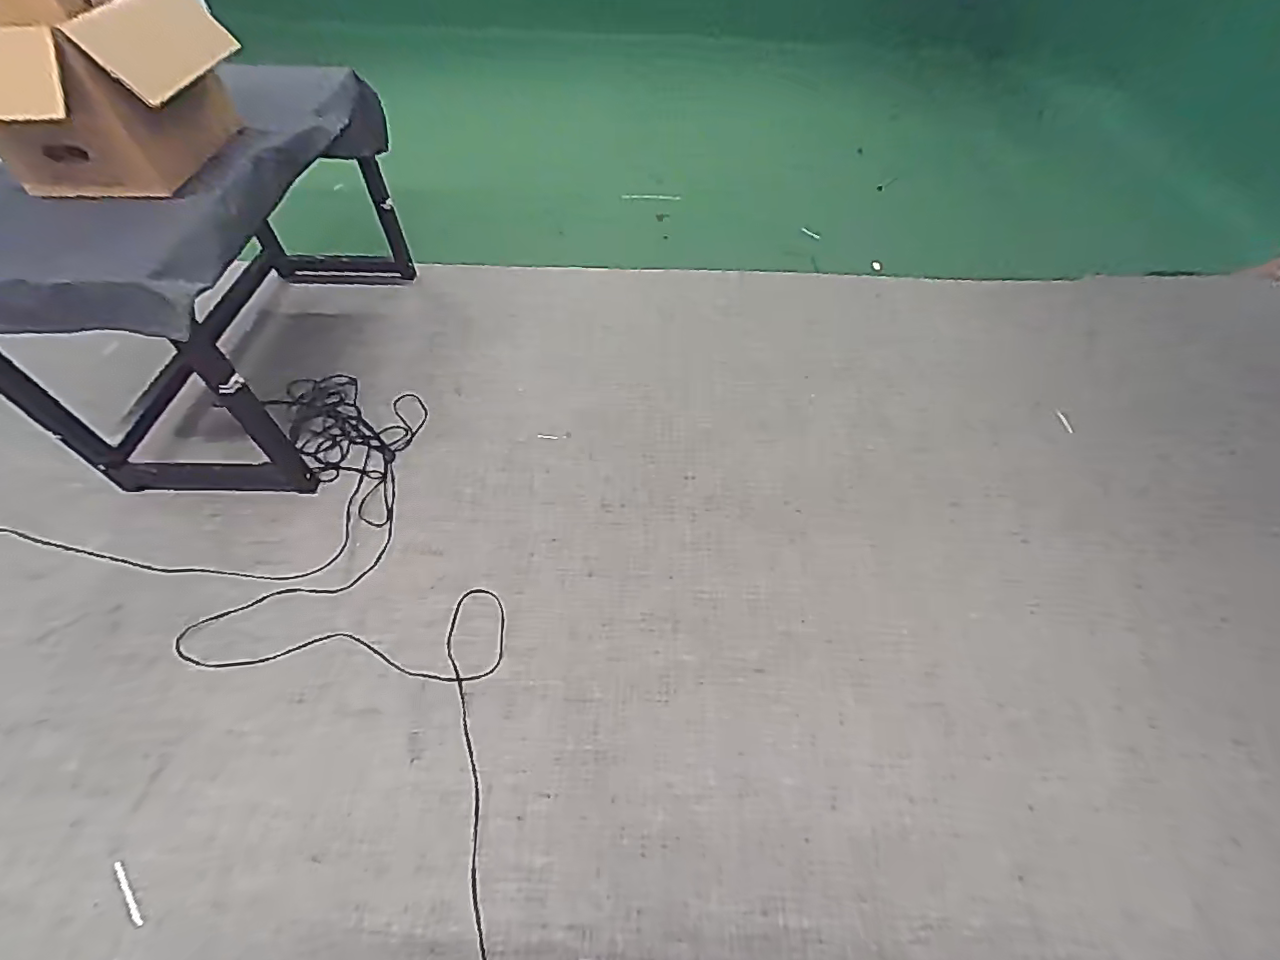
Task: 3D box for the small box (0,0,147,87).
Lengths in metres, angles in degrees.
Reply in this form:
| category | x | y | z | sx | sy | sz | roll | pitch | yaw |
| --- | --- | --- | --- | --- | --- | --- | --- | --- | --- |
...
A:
| category | x | y | z | sx | sy | sz | roll | pitch | yaw |
| --- | --- | --- | --- | --- | --- | --- | --- | --- | --- |
| small box | -1.210 | -0.961 | 1.143 | 0.168 | 0.176 | 0.179 | 0 | 53 | -1 |
